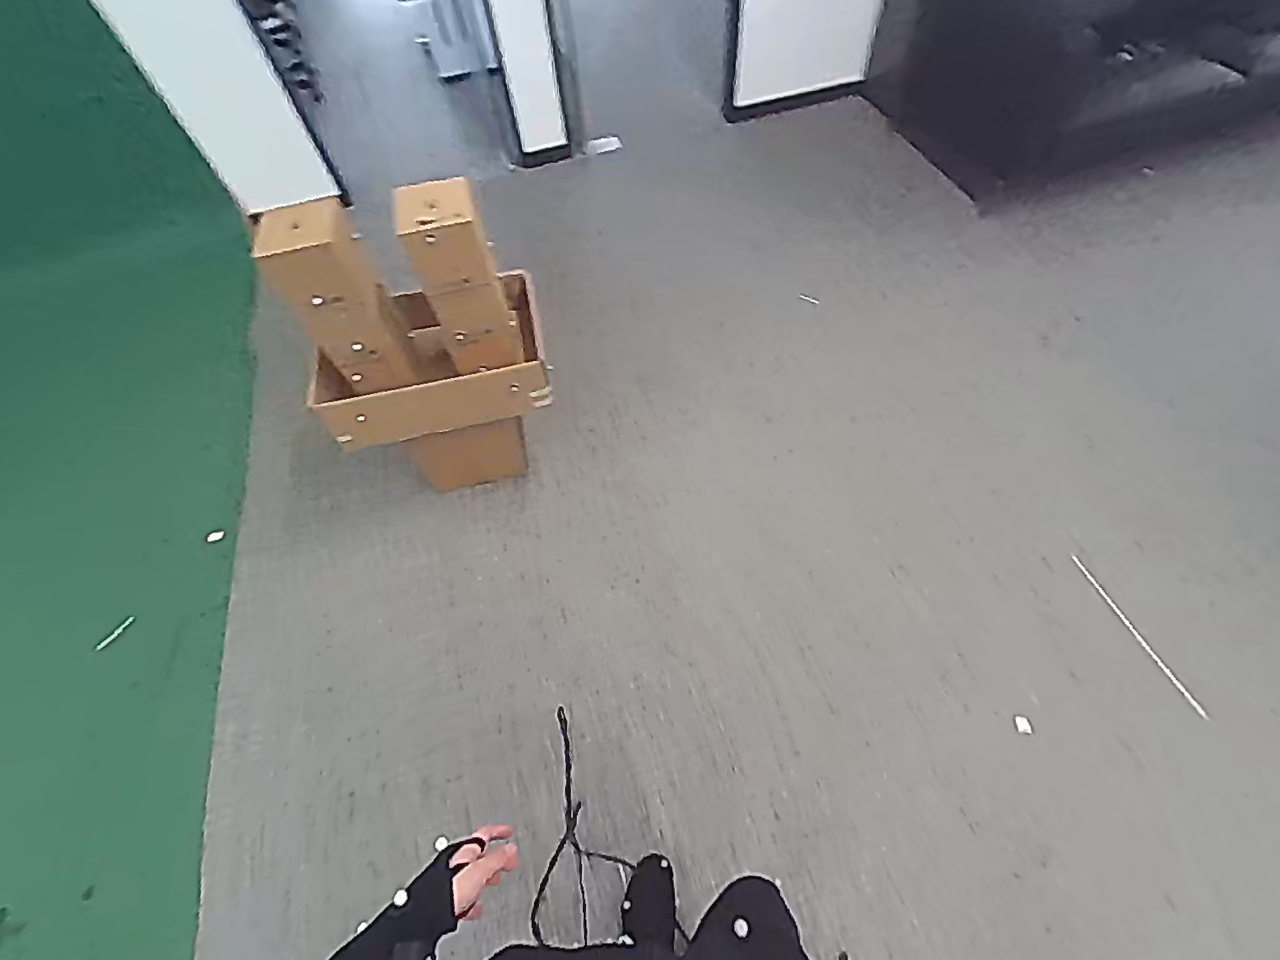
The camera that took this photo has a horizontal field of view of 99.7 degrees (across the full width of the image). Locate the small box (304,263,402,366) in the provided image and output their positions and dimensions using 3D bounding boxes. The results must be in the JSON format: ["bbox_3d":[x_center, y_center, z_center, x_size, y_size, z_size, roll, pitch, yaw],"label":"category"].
[{"bbox_3d":[-0.729,-0.423,1.391,0.168,0.176,0.179,-14,58,-5],"label":"small box"}]

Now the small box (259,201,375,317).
[{"bbox_3d":[-0.736,-0.508,1.252,0.168,0.176,0.179,-14,58,-4],"label":"small box"}]

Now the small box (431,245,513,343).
[{"bbox_3d":[-0.439,-0.479,1.412,0.168,0.176,0.179,-14,58,-6],"label":"small box"}]

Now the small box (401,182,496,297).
[{"bbox_3d":[-0.446,-0.562,1.270,0.168,0.176,0.179,-14,59,-5],"label":"small box"}]

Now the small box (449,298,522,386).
[{"bbox_3d":[-0.441,-0.396,1.554,0.168,0.176,0.179,-10,59,-3],"label":"small box"}]
